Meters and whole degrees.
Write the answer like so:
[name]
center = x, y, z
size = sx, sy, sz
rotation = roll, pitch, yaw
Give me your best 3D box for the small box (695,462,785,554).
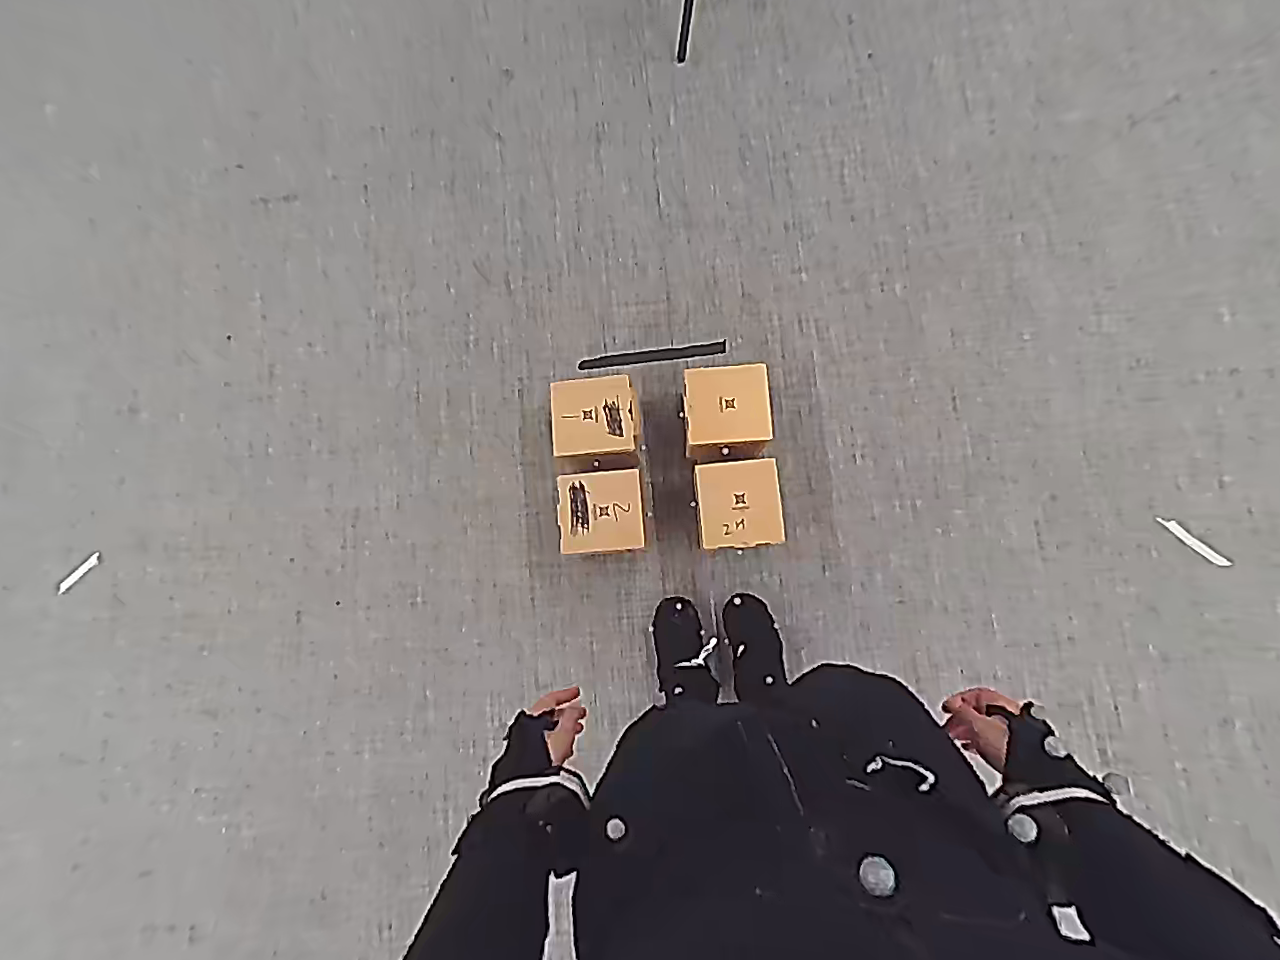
[small box]
center = 0.211, 0.067, 1.179
size = 0.168, 0.176, 0.179
rotation = -6, 81, 4
